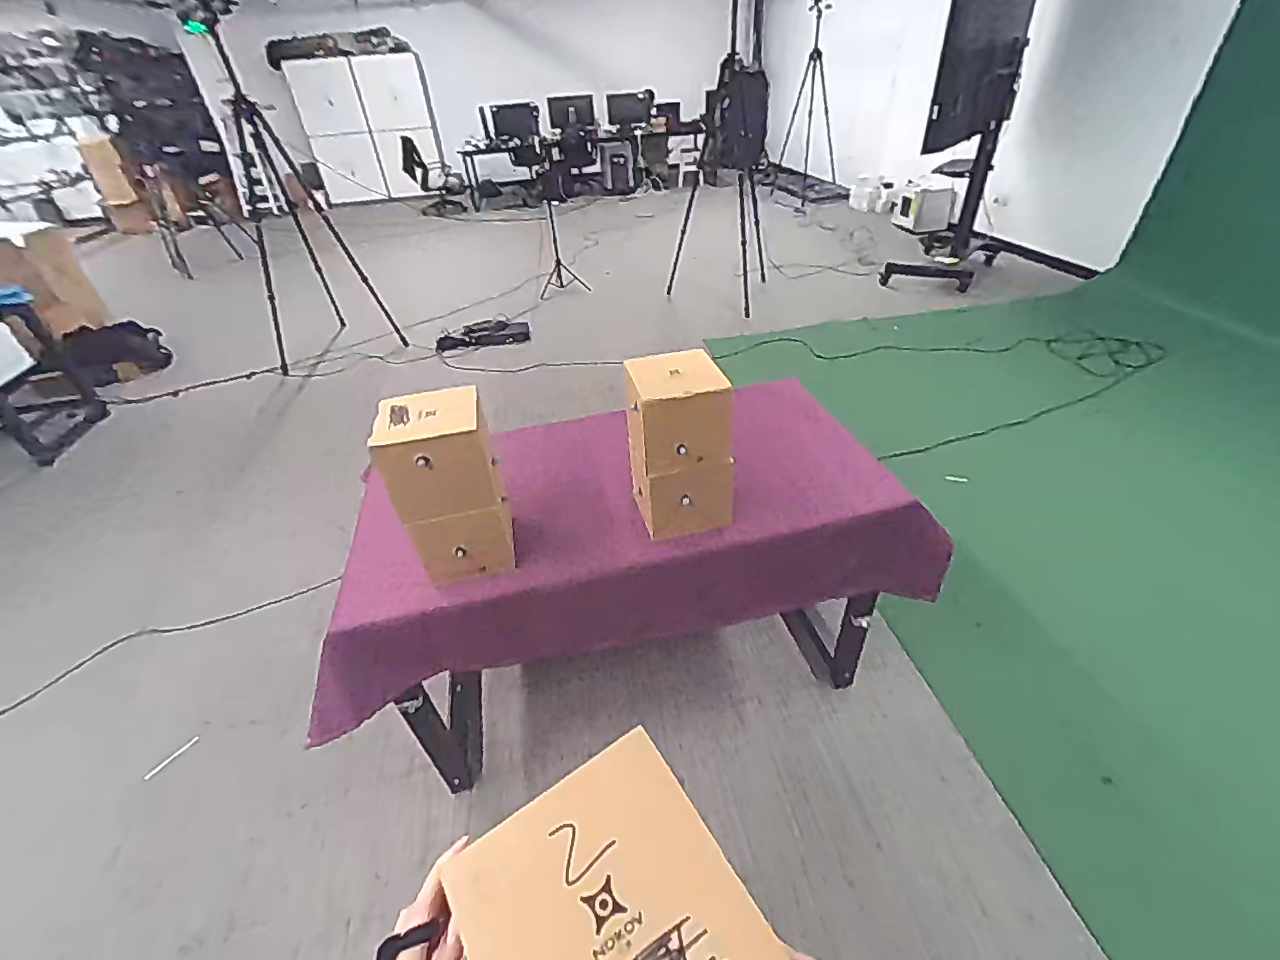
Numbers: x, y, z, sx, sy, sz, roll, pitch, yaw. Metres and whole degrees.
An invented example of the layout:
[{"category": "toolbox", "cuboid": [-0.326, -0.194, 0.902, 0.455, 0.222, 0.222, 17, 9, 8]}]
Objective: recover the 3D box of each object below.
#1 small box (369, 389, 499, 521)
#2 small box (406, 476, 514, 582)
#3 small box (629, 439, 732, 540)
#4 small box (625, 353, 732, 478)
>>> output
[{"category": "small box", "cuboid": [-0.363, -0.045, 0.986, 0.179, 0.176, 0.168, -11, 38, -9]}, {"category": "small box", "cuboid": [-0.352, 0.086, 1.086, 0.168, 0.176, 0.179, -10, 37, -8]}, {"category": "small box", "cuboid": [0.085, 0.006, 1.143, 0.179, 0.176, 0.168, -12, 38, -8]}, {"category": "small box", "cuboid": [0.069, -0.127, 1.049, 0.168, 0.176, 0.179, -10, 38, -8]}]
